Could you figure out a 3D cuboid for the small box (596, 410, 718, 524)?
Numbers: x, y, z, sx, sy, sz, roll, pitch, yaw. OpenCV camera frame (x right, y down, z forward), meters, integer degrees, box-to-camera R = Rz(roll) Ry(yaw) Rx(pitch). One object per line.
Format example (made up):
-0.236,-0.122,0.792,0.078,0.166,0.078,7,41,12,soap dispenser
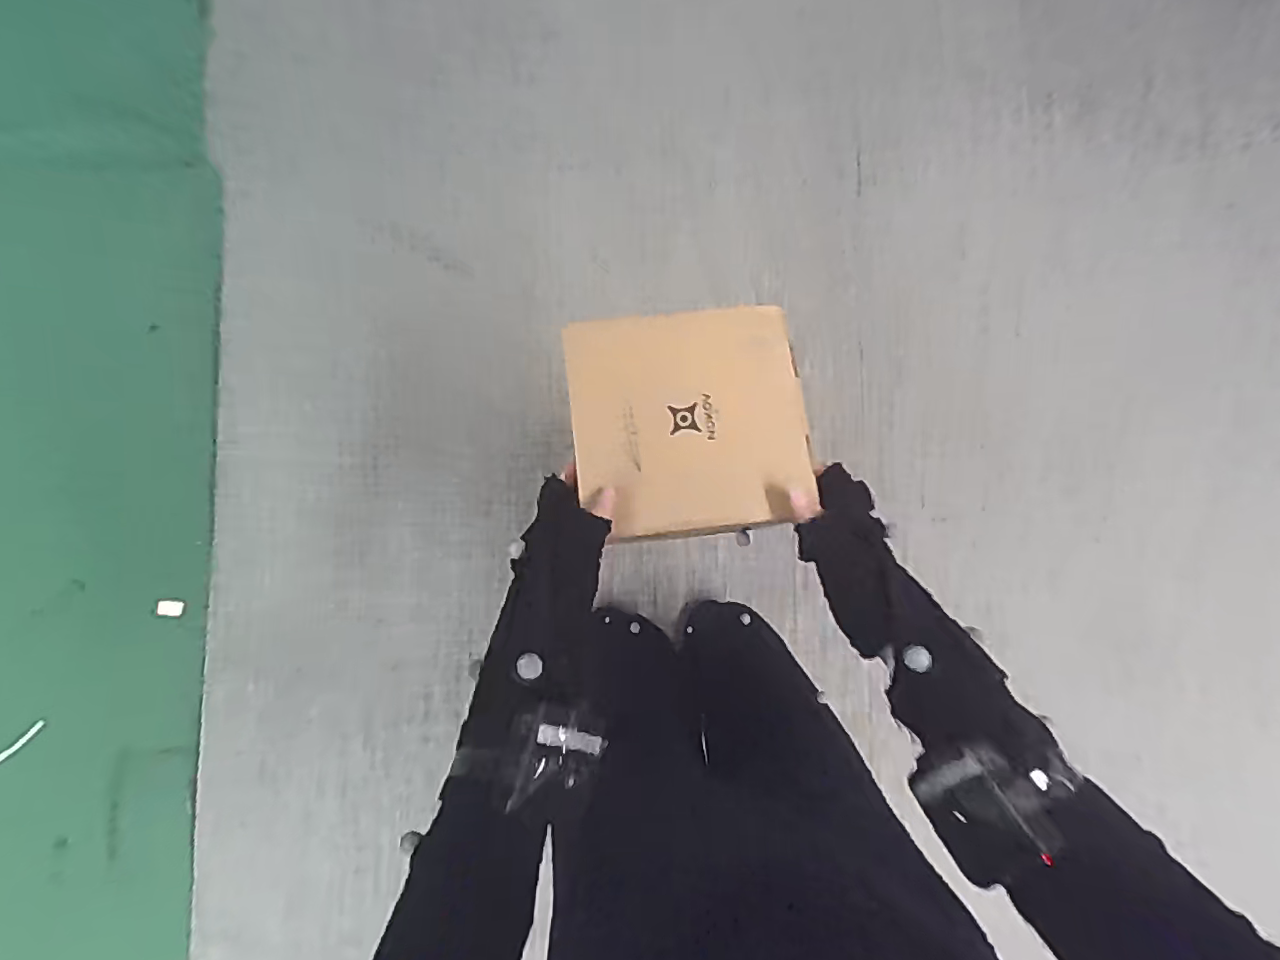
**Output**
0.022,-0.018,0.883,0.179,0.176,0.168,-4,87,-2,small box
